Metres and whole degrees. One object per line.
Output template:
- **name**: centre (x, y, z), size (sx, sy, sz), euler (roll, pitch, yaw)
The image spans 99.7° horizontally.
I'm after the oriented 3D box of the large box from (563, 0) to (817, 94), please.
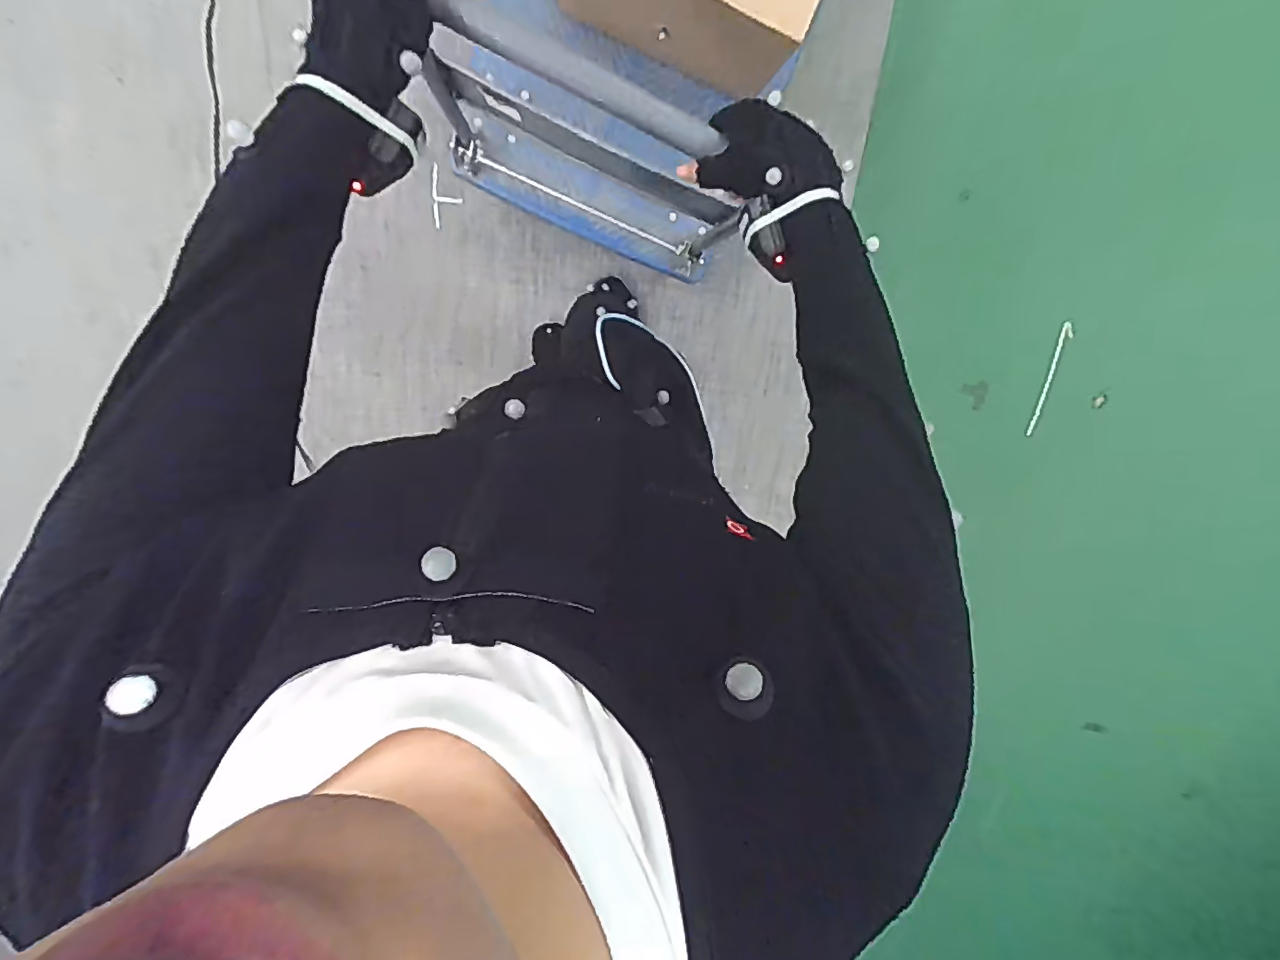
- **large box**: centre (0.101, -0.905, 0.864), size (0.408, 0.320, 0.320), euler (19, 108, -10)
